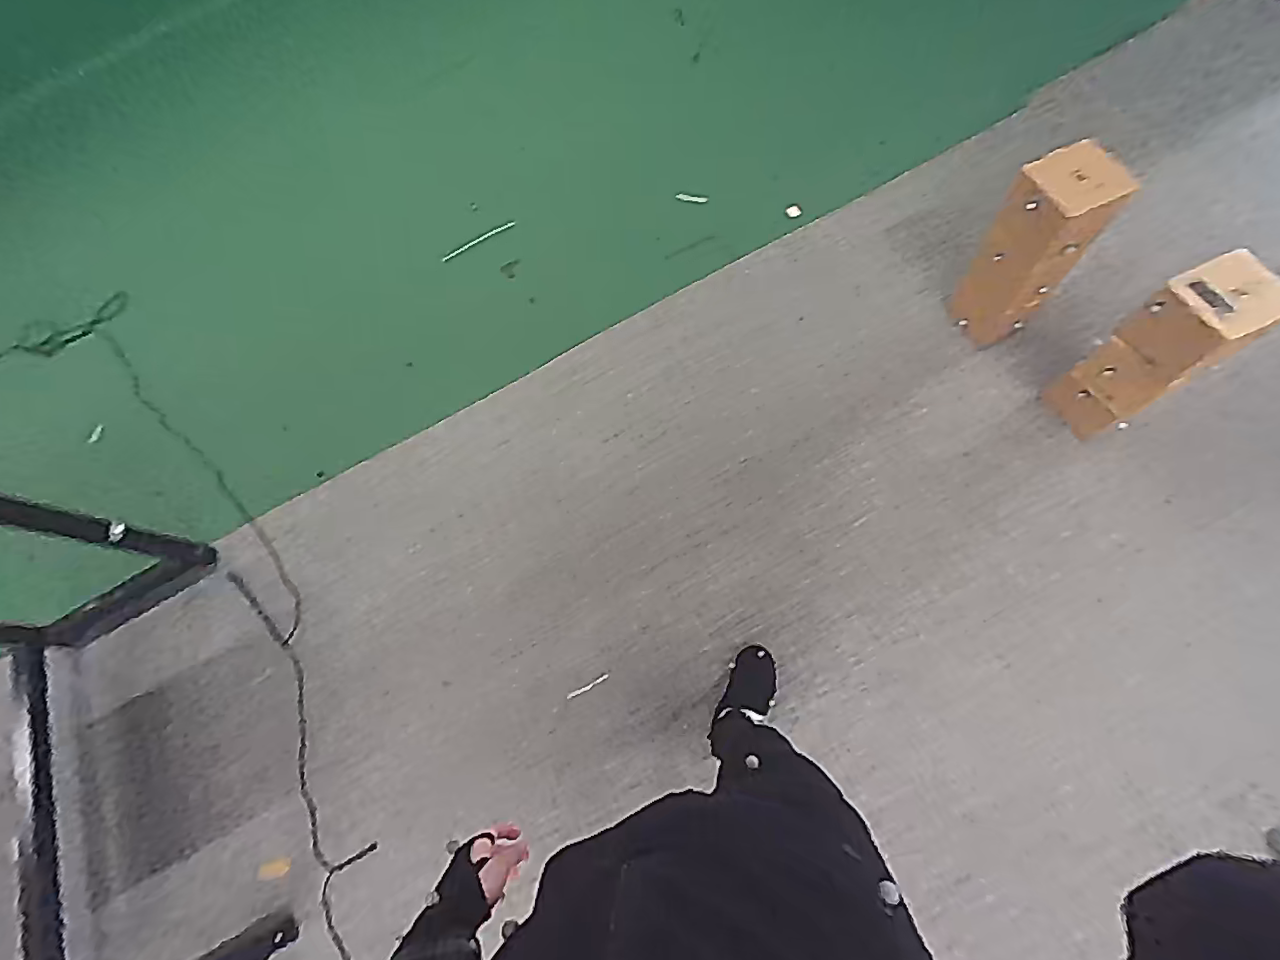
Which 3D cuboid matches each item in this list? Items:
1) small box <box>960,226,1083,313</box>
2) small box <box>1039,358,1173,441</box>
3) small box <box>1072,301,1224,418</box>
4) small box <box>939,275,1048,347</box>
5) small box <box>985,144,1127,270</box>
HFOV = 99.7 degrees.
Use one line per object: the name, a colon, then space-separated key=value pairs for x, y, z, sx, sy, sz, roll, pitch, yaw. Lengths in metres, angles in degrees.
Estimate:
small box: x=0.993 y=-0.580 z=1.431 sx=0.168 sy=0.176 sz=0.179 roll=-26 pitch=68 yaw=0
small box: x=1.221 y=-0.234 z=1.437 sx=0.168 sy=0.176 sz=0.179 roll=-28 pitch=68 yaw=-1
small box: x=1.184 y=-0.278 z=1.285 sx=0.179 sy=0.176 sz=0.168 roll=-31 pitch=68 yaw=-3
small box: x=1.022 y=-0.516 z=1.580 sx=0.168 sy=0.176 sz=0.179 roll=-26 pitch=68 yaw=-1
small box: x=0.968 y=-0.639 z=1.281 sx=0.168 sy=0.176 sz=0.179 roll=-24 pitch=68 yaw=1
